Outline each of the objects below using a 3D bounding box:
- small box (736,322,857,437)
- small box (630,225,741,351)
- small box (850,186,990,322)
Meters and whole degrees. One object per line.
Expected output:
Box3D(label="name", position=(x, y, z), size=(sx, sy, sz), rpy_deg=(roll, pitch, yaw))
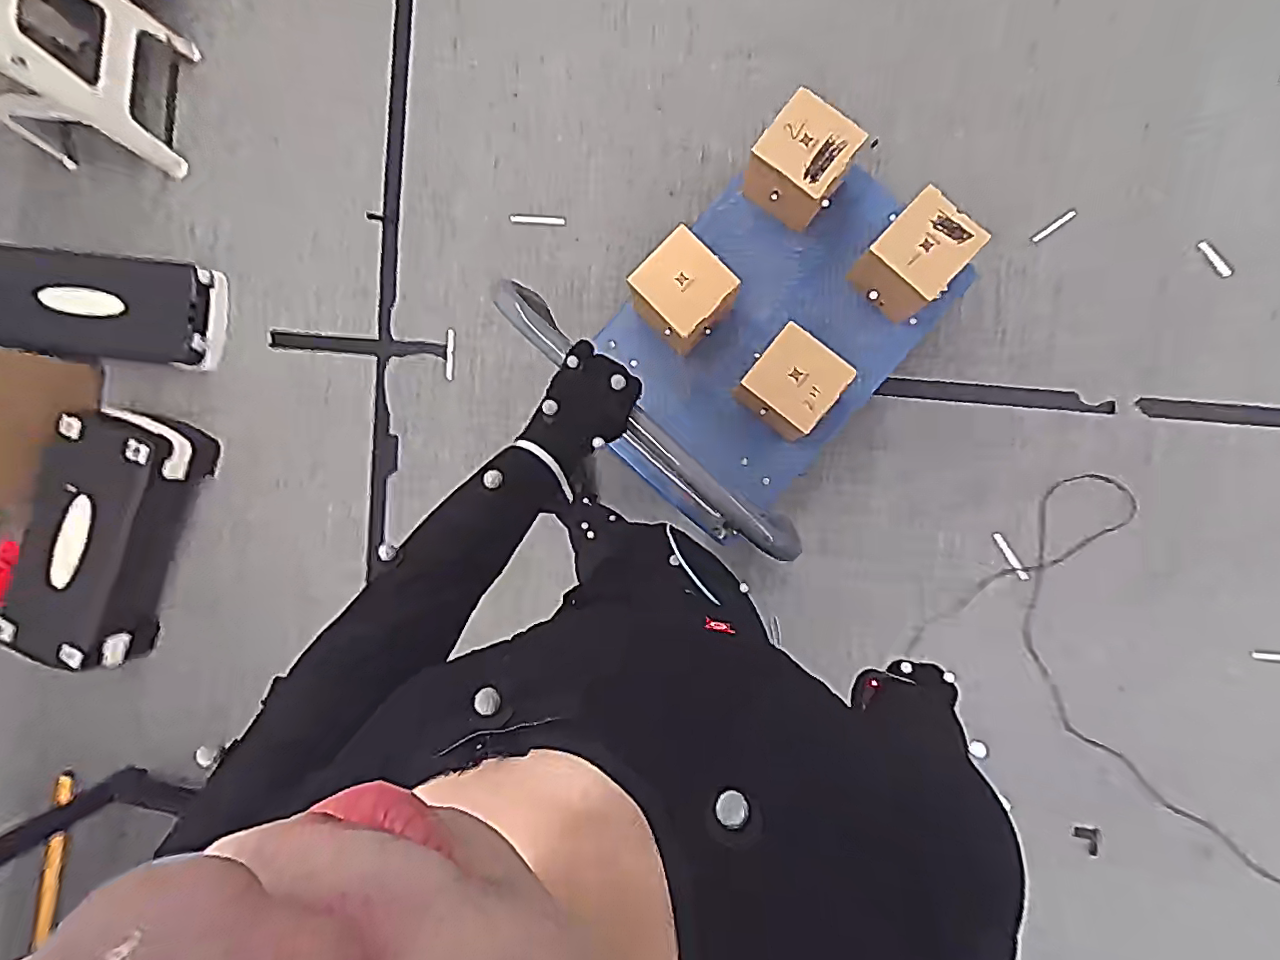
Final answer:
Box3D(label="small box", position=(0.329, -0.208, 1.181), size=(0.179, 0.176, 0.168), rpy_deg=(39, 93, 3))
Box3D(label="small box", position=(0.096, -0.412, 1.197), size=(0.168, 0.176, 0.179), rpy_deg=(-45, 89, 2))
Box3D(label="small box", position=(0.588, -0.474, 1.162), size=(0.168, 0.176, 0.179), rpy_deg=(43, 94, 3))
